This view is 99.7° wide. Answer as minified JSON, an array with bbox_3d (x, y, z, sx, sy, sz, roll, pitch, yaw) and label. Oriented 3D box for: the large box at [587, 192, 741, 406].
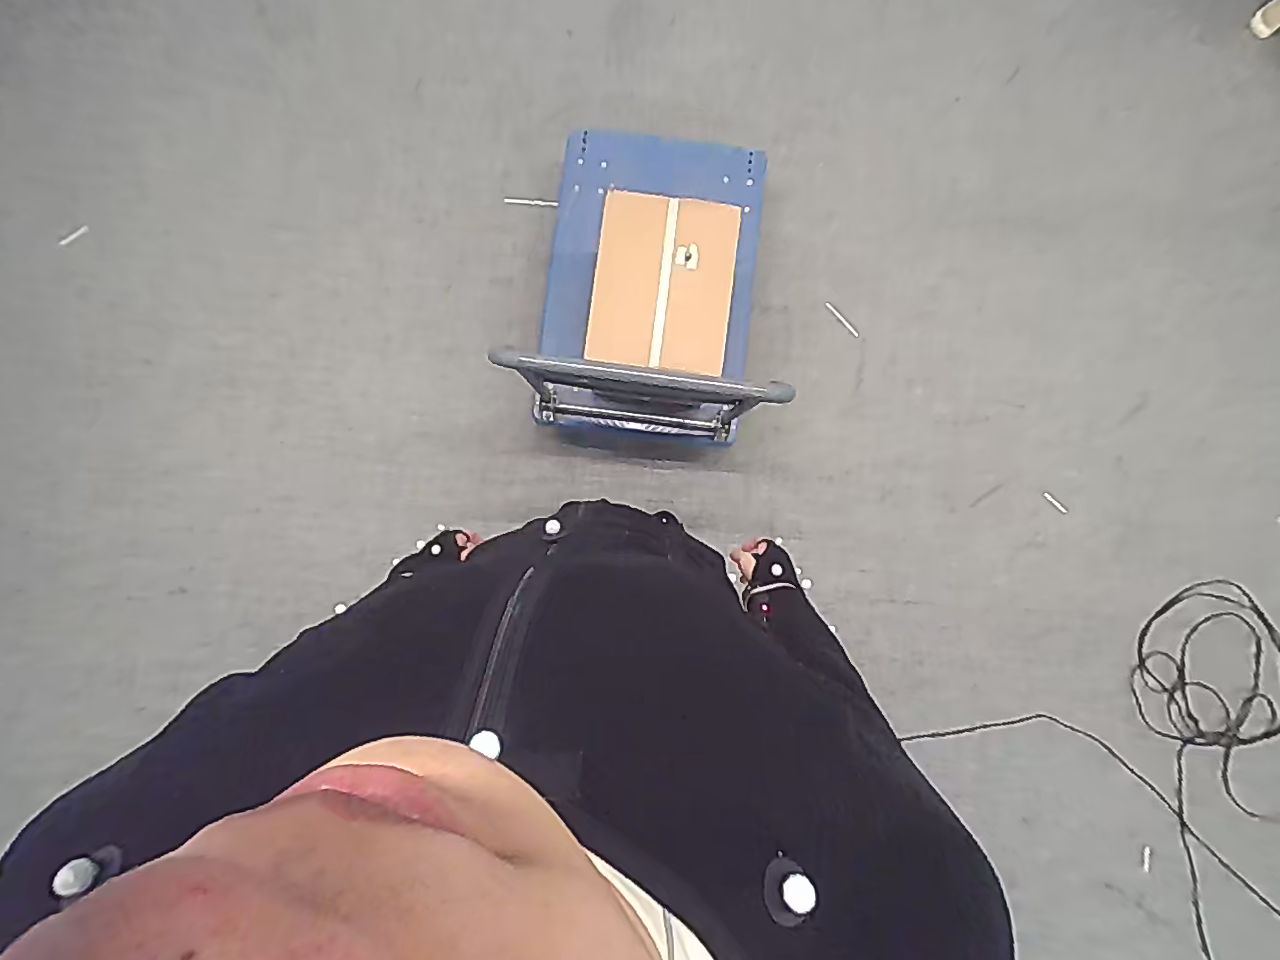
[{"bbox_3d":[0.054,-0.425,1.352,0.320,0.320,0.408,8,85,-2],"label":"large box"}]
